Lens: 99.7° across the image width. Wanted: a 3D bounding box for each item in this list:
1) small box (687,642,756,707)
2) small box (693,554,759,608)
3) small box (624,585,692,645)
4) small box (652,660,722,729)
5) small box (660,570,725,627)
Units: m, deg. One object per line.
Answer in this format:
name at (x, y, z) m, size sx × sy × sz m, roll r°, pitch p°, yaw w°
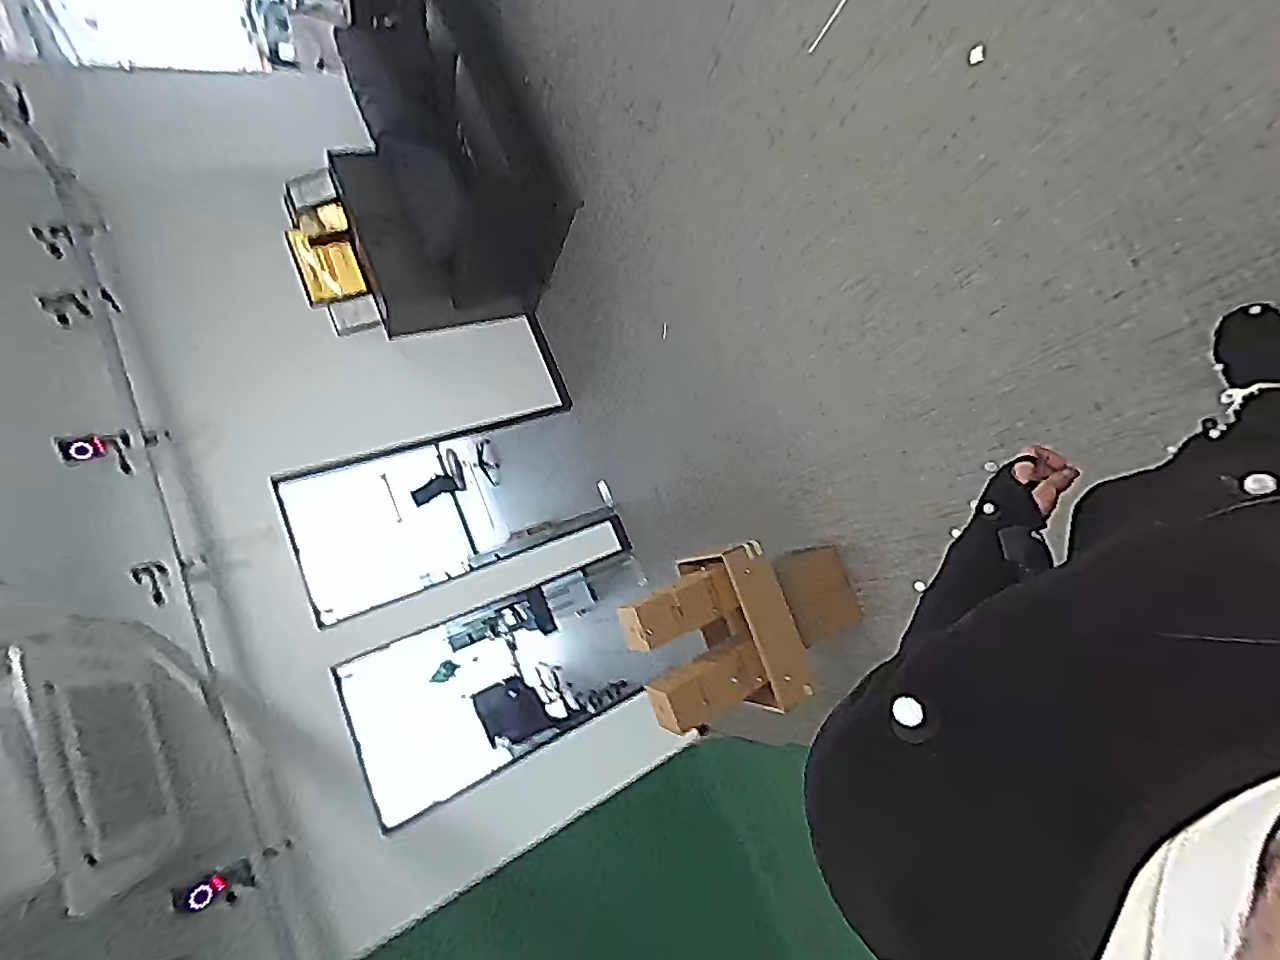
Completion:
small box at (0.311, 0.738, 2.069) m, size 0.179 × 0.176 × 0.168 m, roll -21°, pitch 88°, yaw 64°
small box at (0.344, 0.403, 2.164) m, size 0.179 × 0.176 × 0.168 m, roll -26°, pitch 83°, yaw 63°
small box at (0.066, 0.499, 2.016) m, size 0.179 × 0.176 × 0.168 m, roll -30°, pitch 80°, yaw 63°
small box at (0.173, 0.784, 1.996) m, size 0.179 × 0.176 × 0.168 m, roll -23°, pitch 87°, yaw 64°
small box at (0.207, 0.451, 2.085) m, size 0.179 × 0.176 × 0.168 m, roll -23°, pitch 86°, yaw 64°
